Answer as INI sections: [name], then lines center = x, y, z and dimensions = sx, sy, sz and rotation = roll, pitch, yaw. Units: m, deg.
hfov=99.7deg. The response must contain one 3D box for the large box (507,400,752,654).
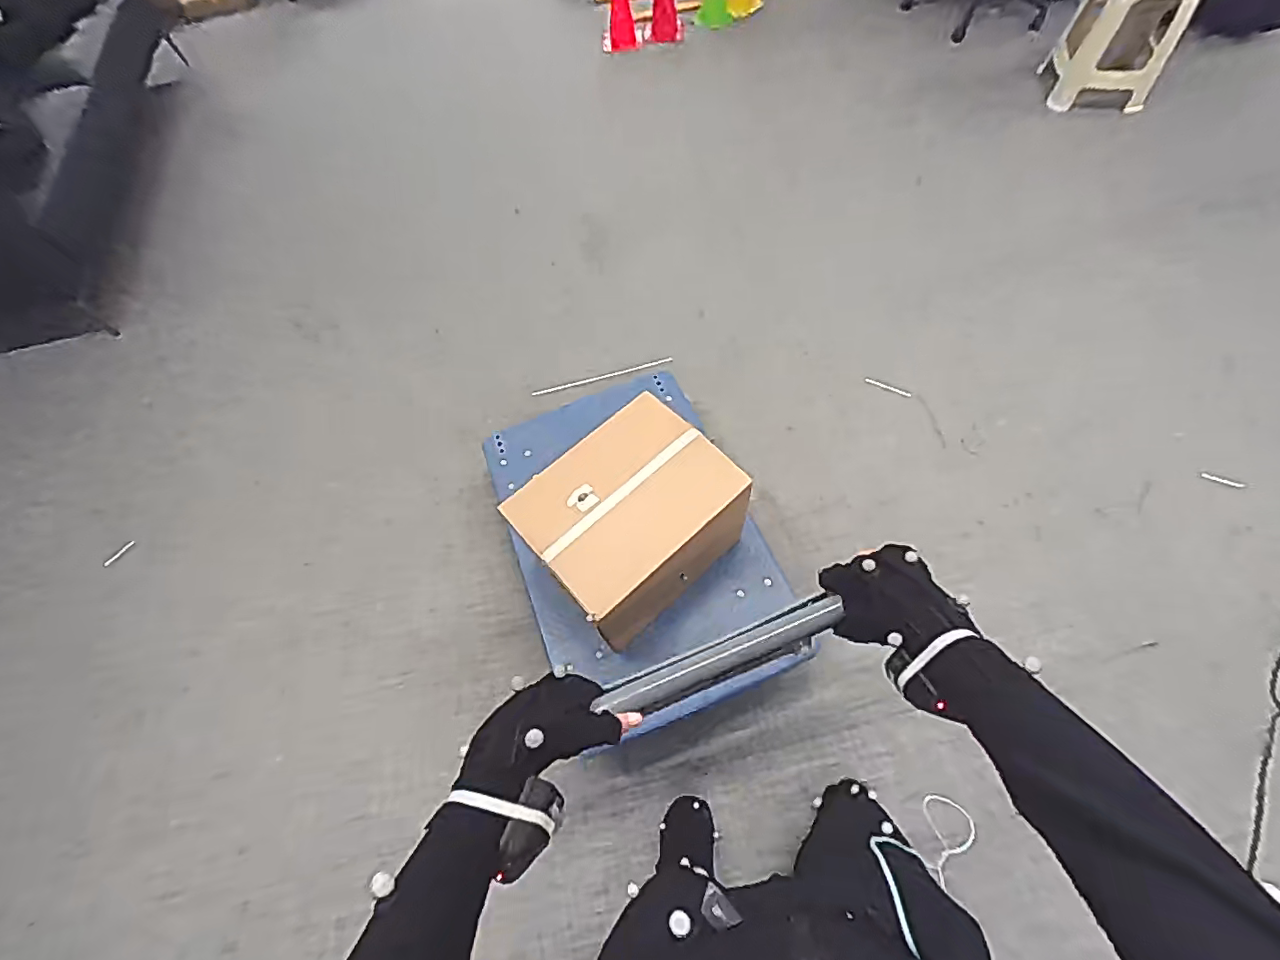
[large box]
center = -0.008, 0.111, 1.194
dimensions = 0.408, 0.320, 0.320
rotation = -41, 65, -14
